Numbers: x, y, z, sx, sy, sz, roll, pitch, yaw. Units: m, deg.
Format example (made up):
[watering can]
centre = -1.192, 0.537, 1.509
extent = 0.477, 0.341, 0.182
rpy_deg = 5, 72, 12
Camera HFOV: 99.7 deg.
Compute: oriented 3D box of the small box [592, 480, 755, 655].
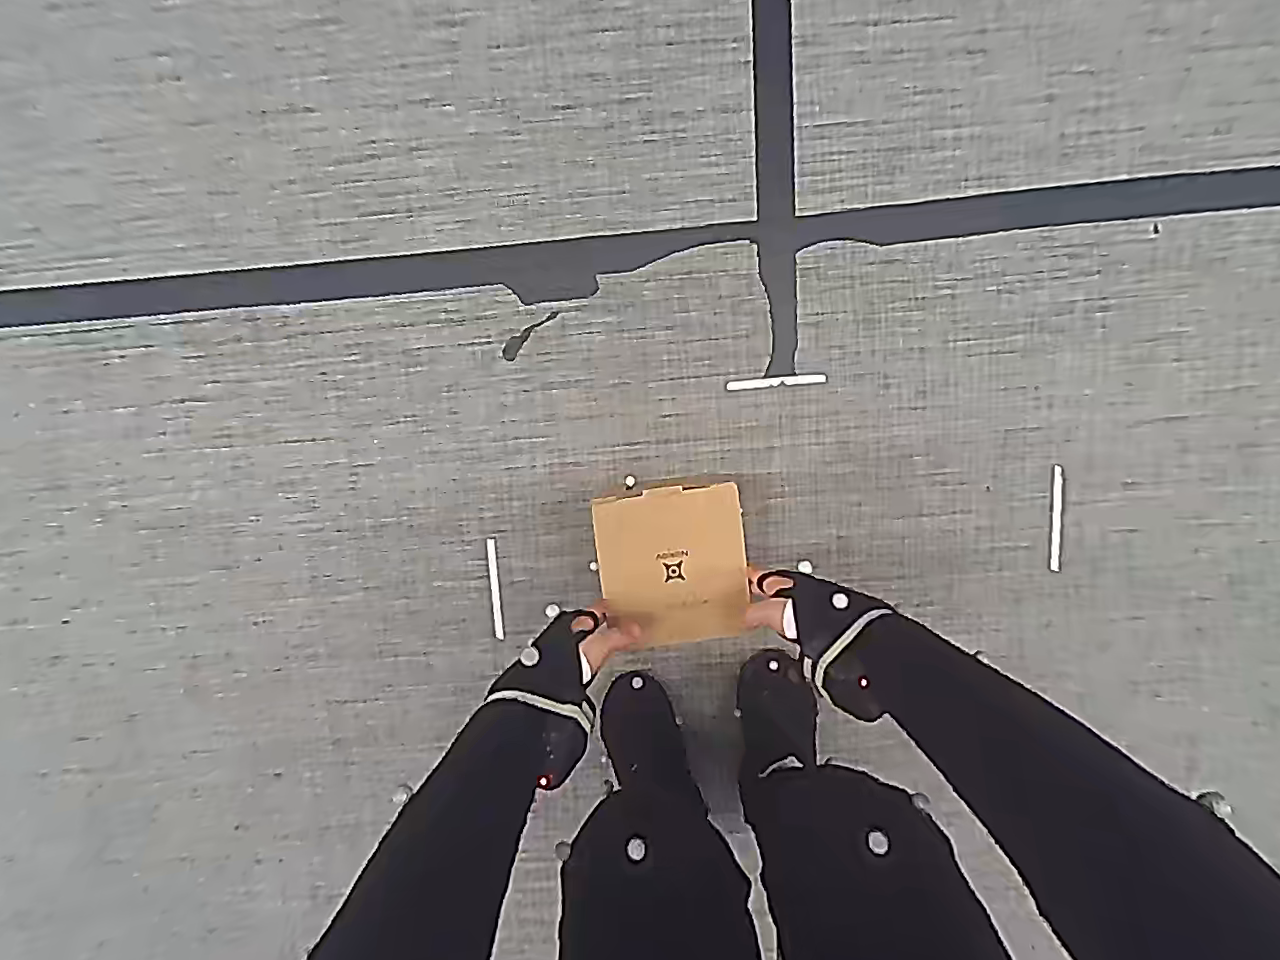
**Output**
[small box]
centre = 0.036, 0.095, 0.675
extent = 0.168, 0.176, 0.179
rpy_deg = -8, 93, 1
